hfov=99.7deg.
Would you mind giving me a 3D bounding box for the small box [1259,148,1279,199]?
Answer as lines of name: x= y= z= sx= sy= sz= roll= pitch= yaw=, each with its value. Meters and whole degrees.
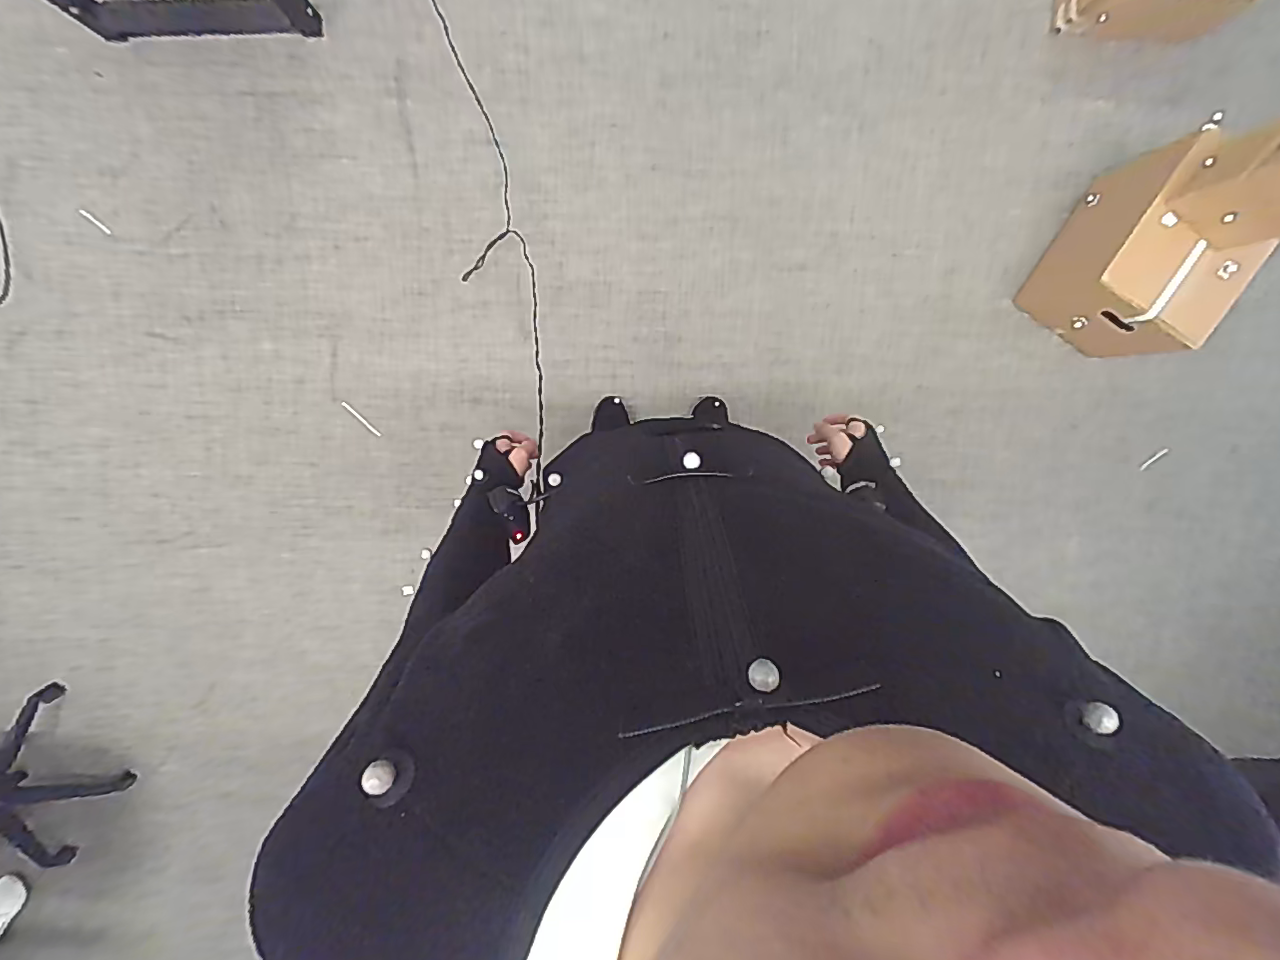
small box: x=1.325 y=-0.592 z=0.981 sx=0.179 sy=0.176 sz=0.168 roll=41 pitch=97 yaw=-4
